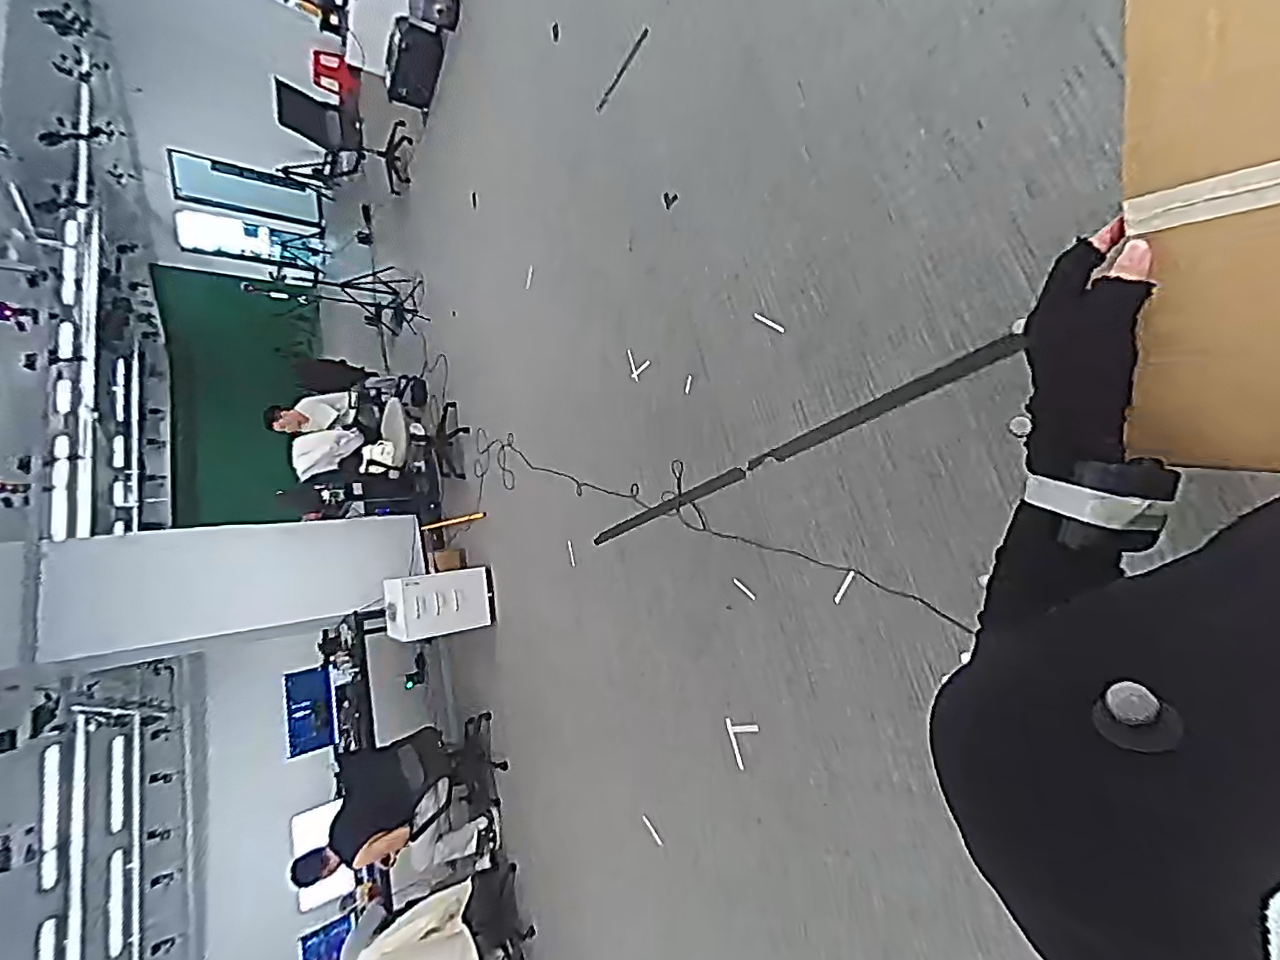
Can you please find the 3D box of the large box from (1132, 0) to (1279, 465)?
[{"bbox_3d":[0.539,-0.188,0.251,0.408,0.320,0.320,10,117,56],"label":"large box"}]
